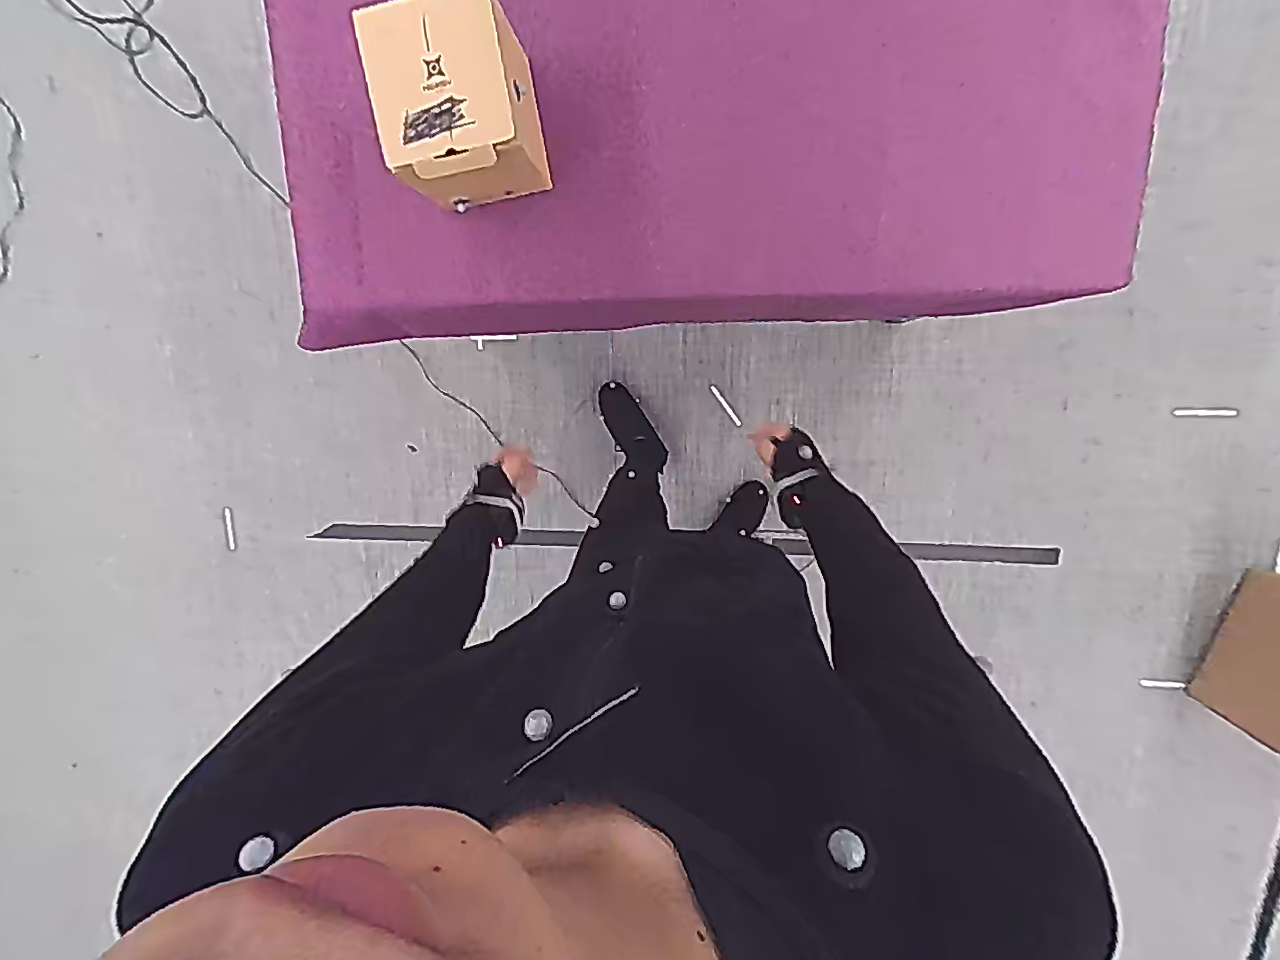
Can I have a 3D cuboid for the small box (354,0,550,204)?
[{"bbox_3d":[-0.226,-0.479,0.699,0.168,0.176,0.179,-9,99,6],"label":"small box"}]
